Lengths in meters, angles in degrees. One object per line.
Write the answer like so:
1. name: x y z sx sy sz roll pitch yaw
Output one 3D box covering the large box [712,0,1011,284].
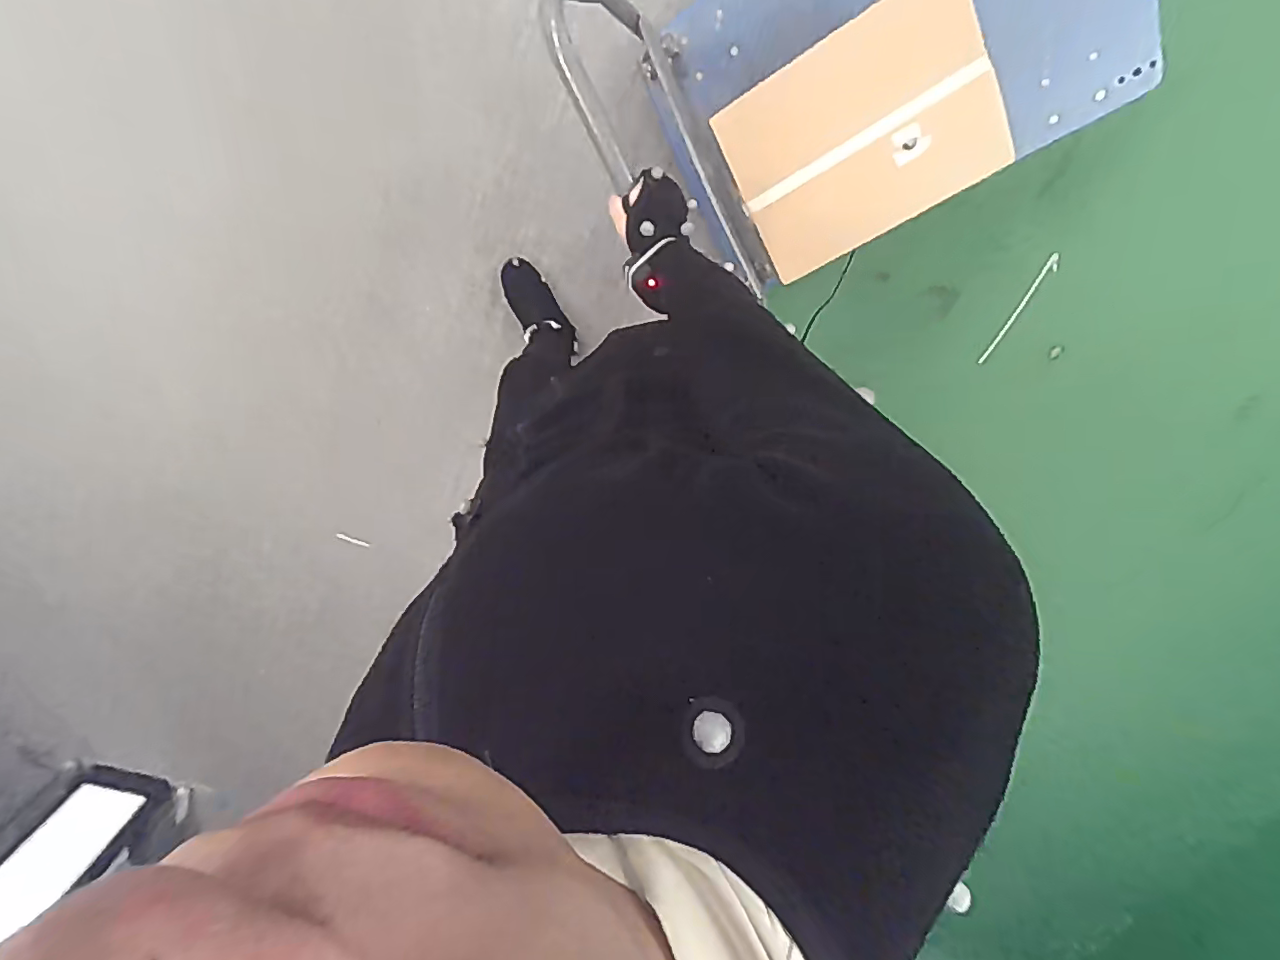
1. large box: 0.386 -0.632 1.031 0.408 0.320 0.320 -24 112 20
